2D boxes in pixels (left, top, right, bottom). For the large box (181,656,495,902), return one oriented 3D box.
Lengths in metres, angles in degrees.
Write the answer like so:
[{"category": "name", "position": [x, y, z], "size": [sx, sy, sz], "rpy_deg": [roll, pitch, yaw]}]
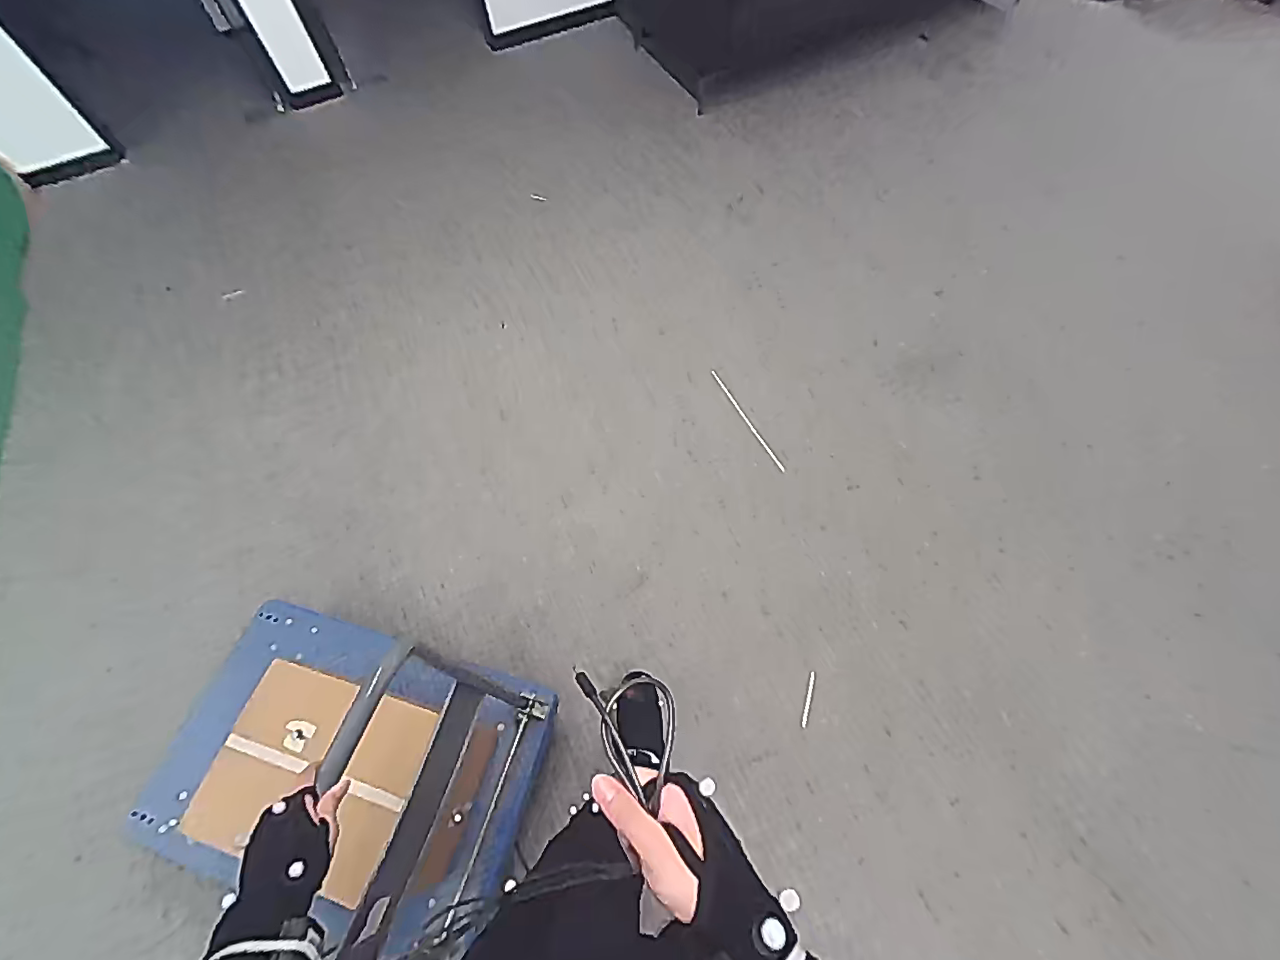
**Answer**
[{"category": "large box", "position": [-0.577, 0.593, 1.119], "size": [0.408, 0.320, 0.320], "rpy_deg": [13, 63, 12]}]
